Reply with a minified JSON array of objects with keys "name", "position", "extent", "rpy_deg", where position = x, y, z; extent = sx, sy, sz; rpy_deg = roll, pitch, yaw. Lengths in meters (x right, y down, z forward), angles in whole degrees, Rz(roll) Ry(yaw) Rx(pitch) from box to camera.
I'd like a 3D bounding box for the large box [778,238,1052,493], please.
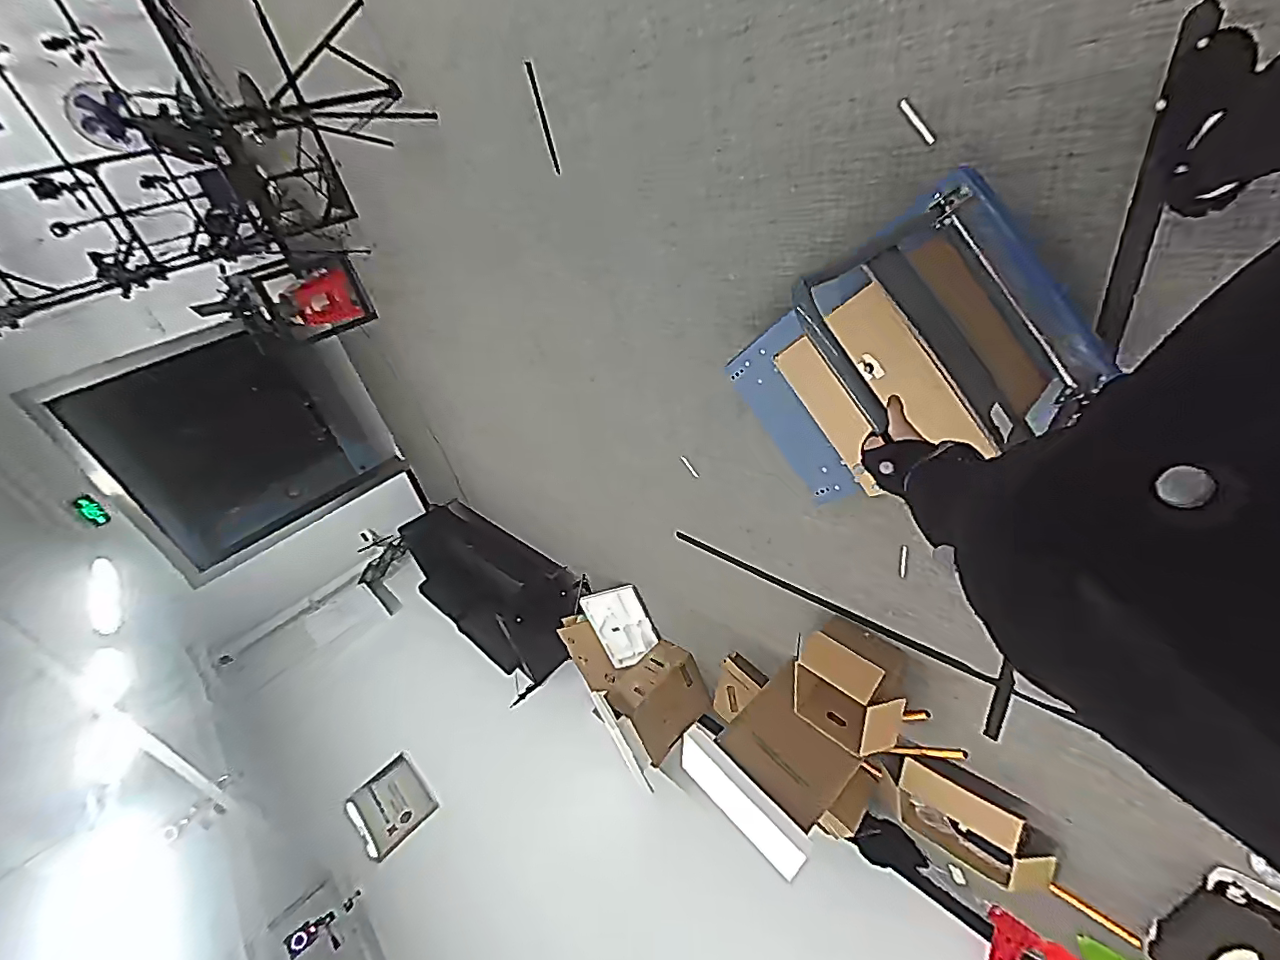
[{"name":"large box","position":[0.603,-0.244,1.208],"extent":[0.408,0.320,0.320],"rpy_deg":[55,150,0]}]
